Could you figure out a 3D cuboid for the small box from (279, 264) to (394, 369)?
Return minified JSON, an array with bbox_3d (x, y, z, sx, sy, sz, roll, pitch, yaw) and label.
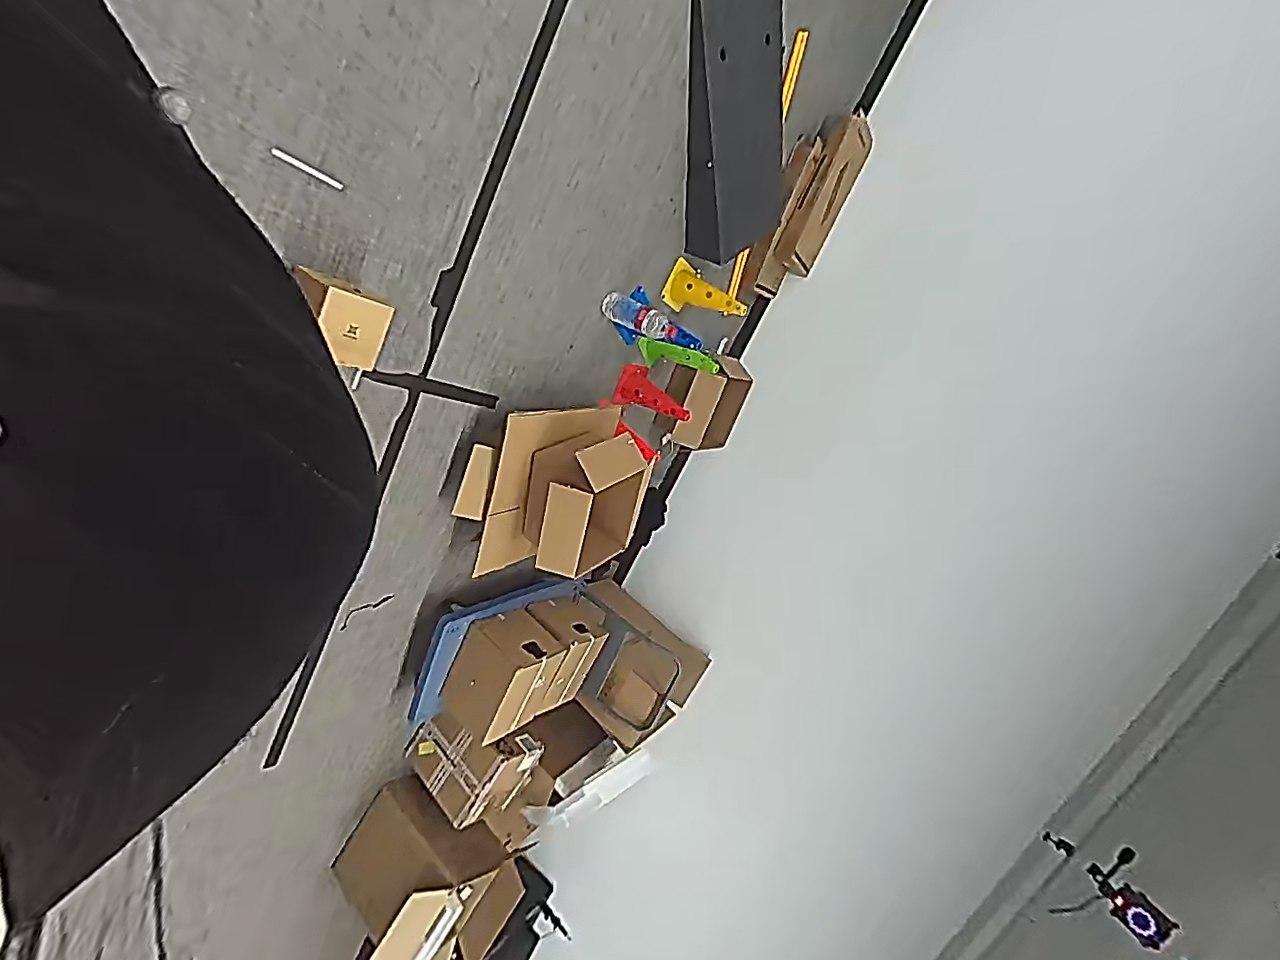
[{"bbox_3d":[-0.744,-0.399,1.319,0.168,0.176,0.179,2,118,-60],"label":"small box"}]
